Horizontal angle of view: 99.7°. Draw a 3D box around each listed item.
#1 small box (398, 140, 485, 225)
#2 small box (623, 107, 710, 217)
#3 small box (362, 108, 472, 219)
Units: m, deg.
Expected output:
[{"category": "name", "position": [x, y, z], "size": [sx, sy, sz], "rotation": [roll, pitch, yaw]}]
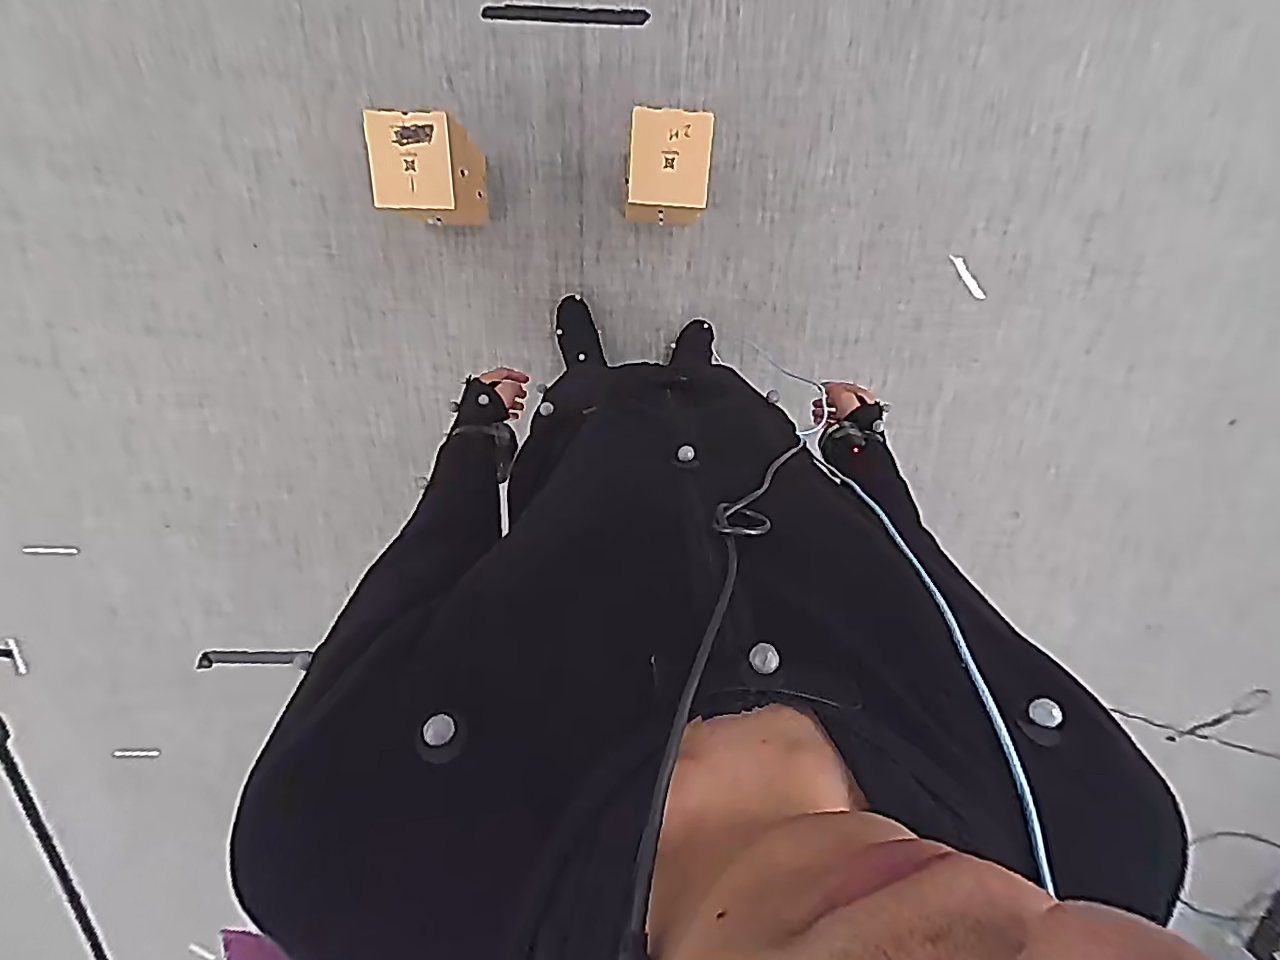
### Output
[{"category": "small box", "position": [-0.480, -0.719, 1.311], "size": [0.179, 0.176, 0.168], "rotation": [0, 110, -2]}, {"category": "small box", "position": [0.051, -0.680, 1.176], "size": [0.168, 0.176, 0.179], "rotation": [3, 110, -4]}, {"category": "small box", "position": [-0.467, -0.666, 1.156], "size": [0.168, 0.176, 0.179], "rotation": [1, 110, -2]}]
